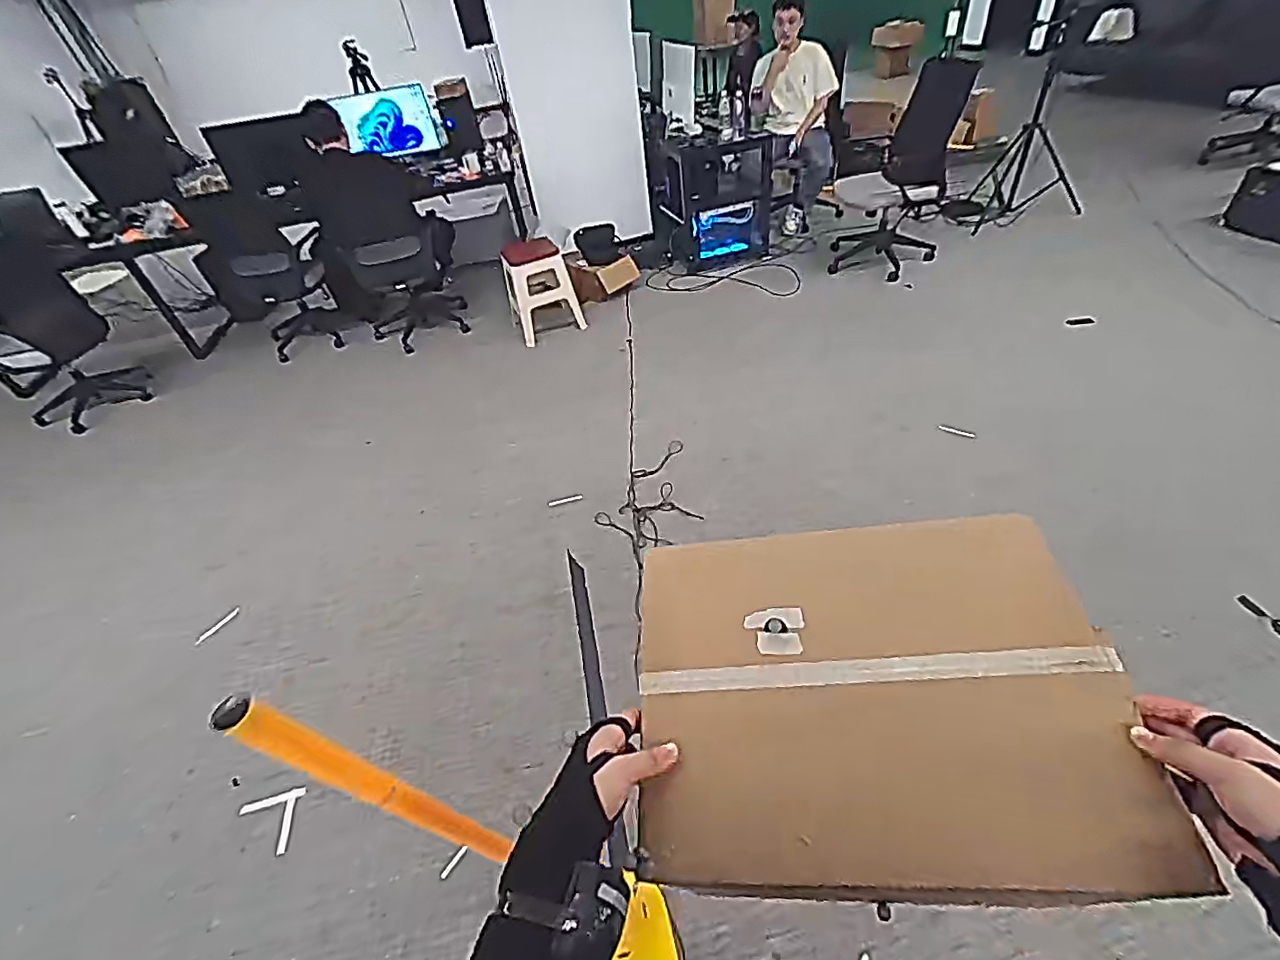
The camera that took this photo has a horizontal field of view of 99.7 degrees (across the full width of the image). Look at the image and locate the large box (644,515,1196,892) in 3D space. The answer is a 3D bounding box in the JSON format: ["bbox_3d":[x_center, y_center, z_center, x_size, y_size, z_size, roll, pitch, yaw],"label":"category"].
[{"bbox_3d":[0.236,0.273,0.616,0.408,0.320,0.320,-8,49,12],"label":"large box"}]
